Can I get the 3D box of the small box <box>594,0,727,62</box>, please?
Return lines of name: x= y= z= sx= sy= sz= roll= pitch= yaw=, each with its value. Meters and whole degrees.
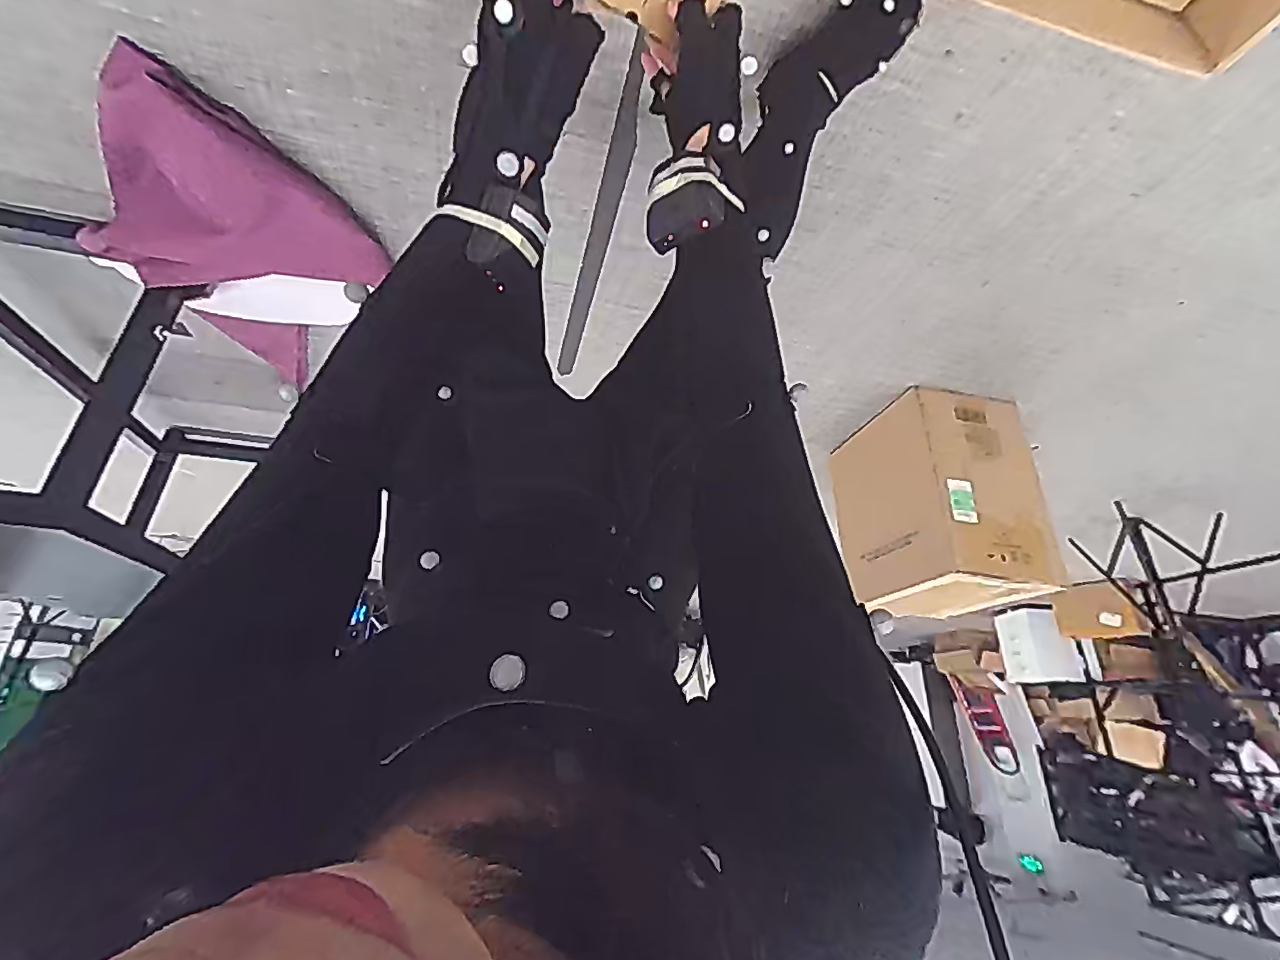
small box: x=-0.004 y=-0.493 z=0.422 sx=0.168 sy=0.176 sz=0.179 roll=-13 pitch=152 yaw=-47
